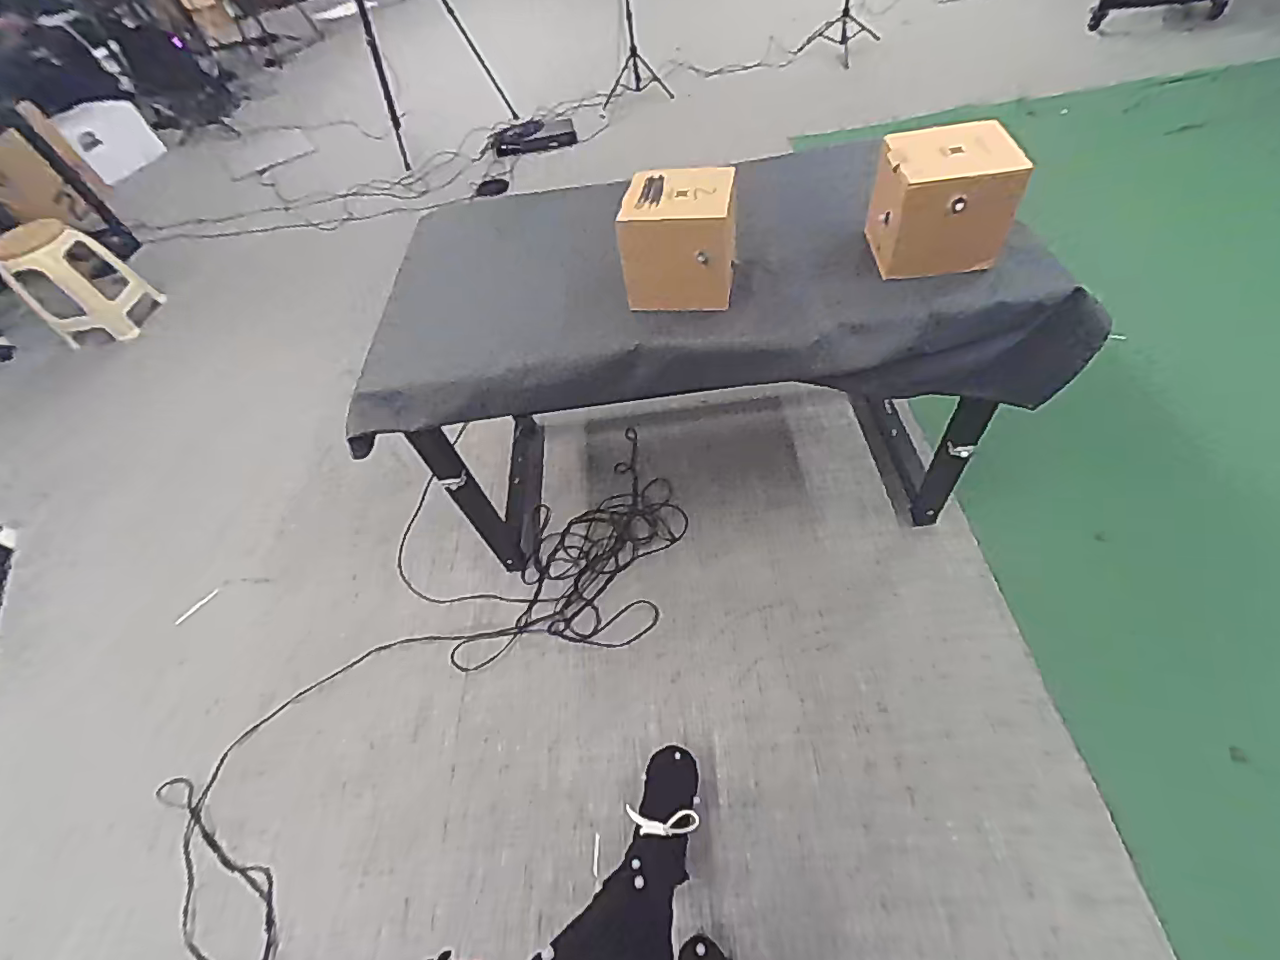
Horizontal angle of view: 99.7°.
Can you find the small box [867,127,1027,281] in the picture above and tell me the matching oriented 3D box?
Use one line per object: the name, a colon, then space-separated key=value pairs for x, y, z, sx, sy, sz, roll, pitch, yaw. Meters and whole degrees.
small box: x=0.489 y=-0.451 z=0.899 sx=0.179 sy=0.176 sz=0.168 roll=-3 pitch=54 yaw=8
